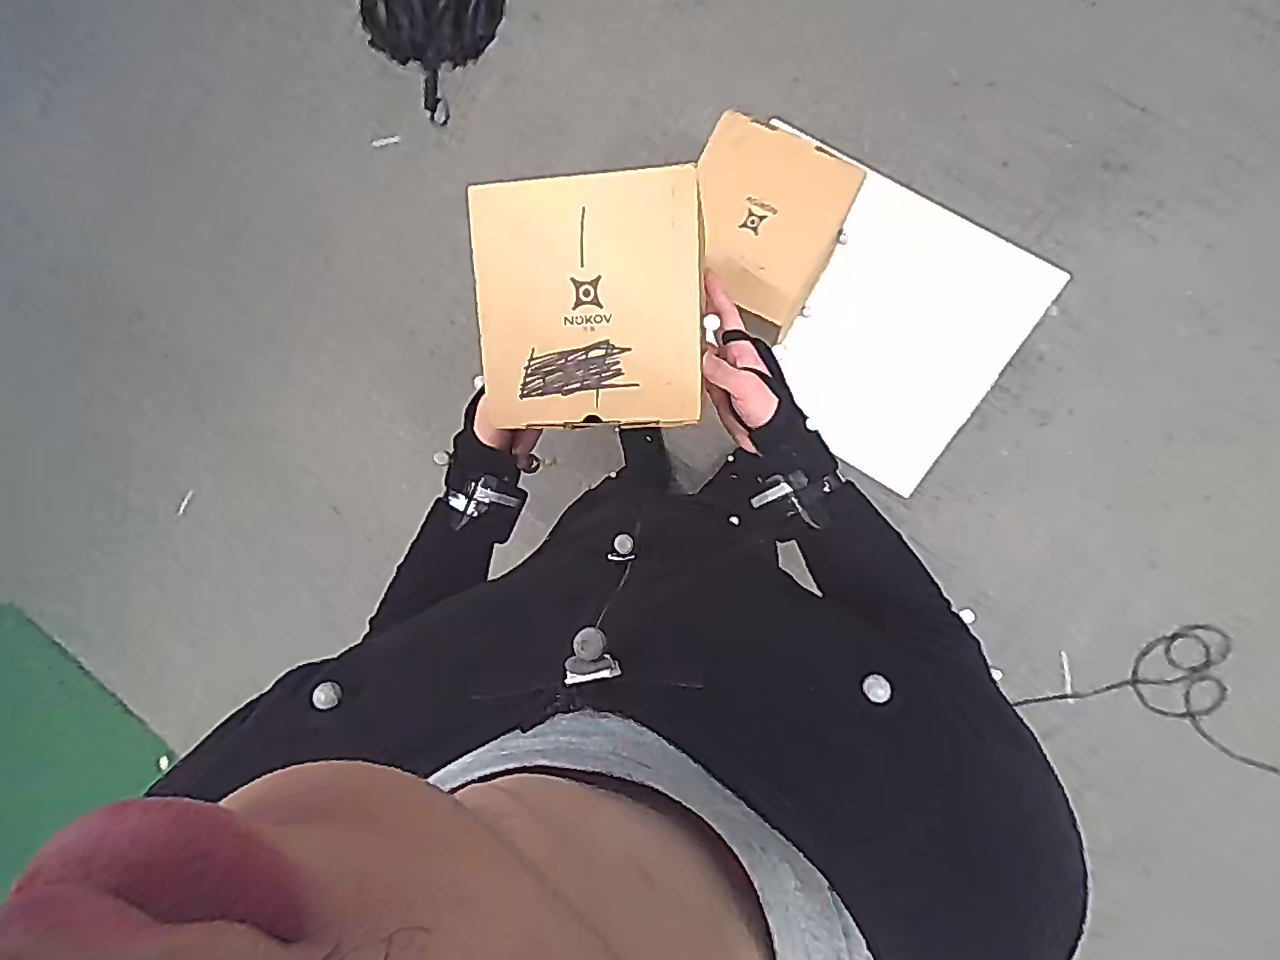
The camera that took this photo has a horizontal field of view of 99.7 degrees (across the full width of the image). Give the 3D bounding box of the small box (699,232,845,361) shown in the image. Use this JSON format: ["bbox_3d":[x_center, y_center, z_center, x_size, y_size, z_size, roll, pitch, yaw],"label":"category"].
[{"bbox_3d":[0.174,-0.299,0.809,0.168,0.176,0.179,32,101,7],"label":"small box"}]

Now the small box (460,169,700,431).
[{"bbox_3d":[-0.035,-0.139,0.470,0.168,0.176,0.179,-1,100,9],"label":"small box"}]

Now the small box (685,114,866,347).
[{"bbox_3d":[0.138,-0.281,0.651,0.168,0.176,0.179,29,102,9],"label":"small box"}]
